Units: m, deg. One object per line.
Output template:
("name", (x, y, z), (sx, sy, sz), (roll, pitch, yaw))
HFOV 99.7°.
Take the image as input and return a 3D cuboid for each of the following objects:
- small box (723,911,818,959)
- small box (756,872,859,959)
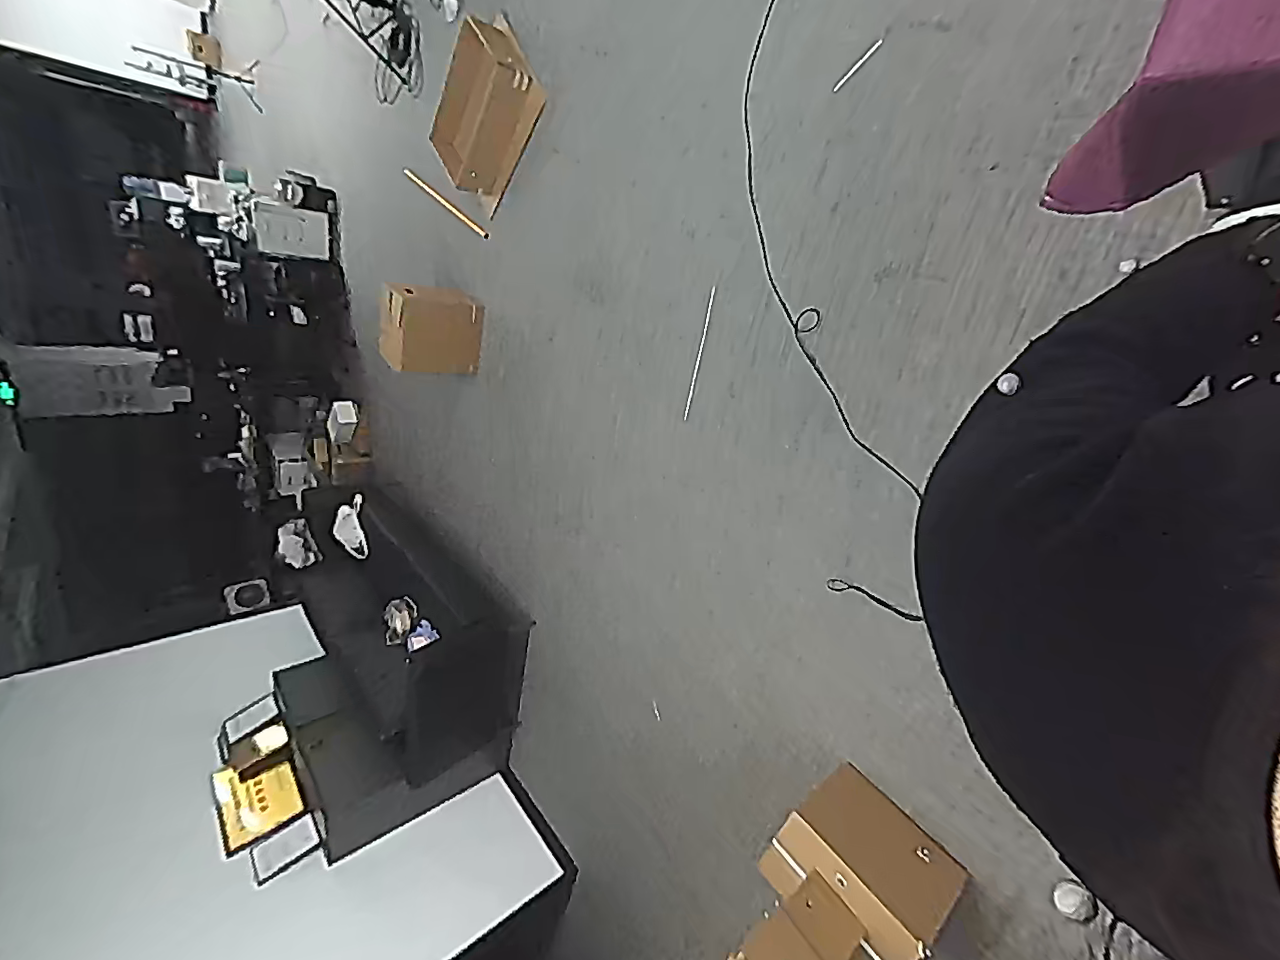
("small box", (0.325, 1.226, 1.345), (0.179, 0.176, 0.168), (42, 128, 33))
("small box", (0.447, 1.204, 1.453), (0.179, 0.176, 0.168), (41, 128, 34))
